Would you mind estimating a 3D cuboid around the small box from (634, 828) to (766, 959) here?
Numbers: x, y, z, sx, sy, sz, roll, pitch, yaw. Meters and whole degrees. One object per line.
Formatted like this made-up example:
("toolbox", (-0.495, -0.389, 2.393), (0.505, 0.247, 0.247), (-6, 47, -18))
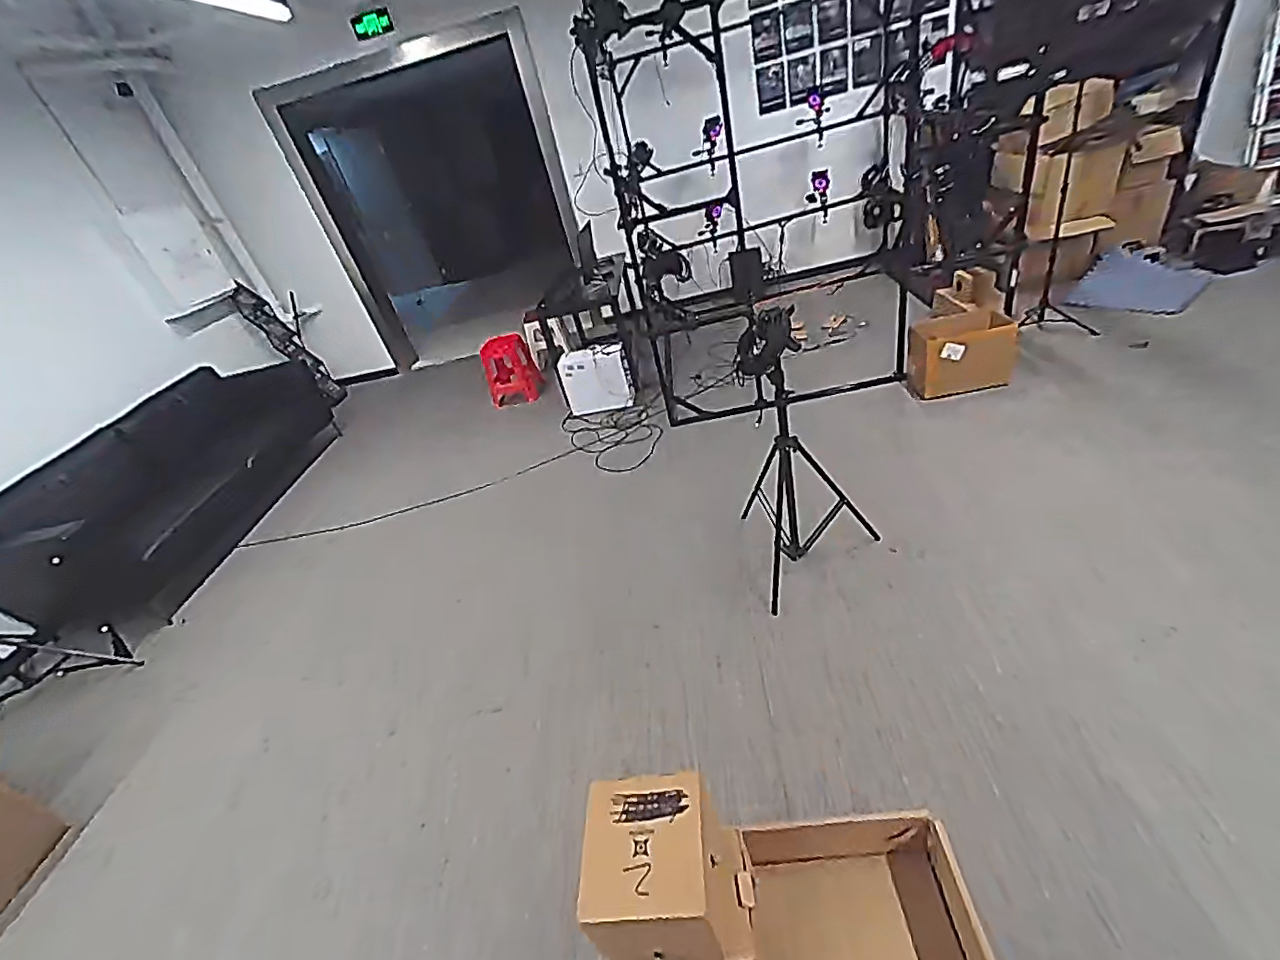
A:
("small box", (0.096, 0.674, 0.843), (0.179, 0.176, 0.168), (-11, 33, 9))
